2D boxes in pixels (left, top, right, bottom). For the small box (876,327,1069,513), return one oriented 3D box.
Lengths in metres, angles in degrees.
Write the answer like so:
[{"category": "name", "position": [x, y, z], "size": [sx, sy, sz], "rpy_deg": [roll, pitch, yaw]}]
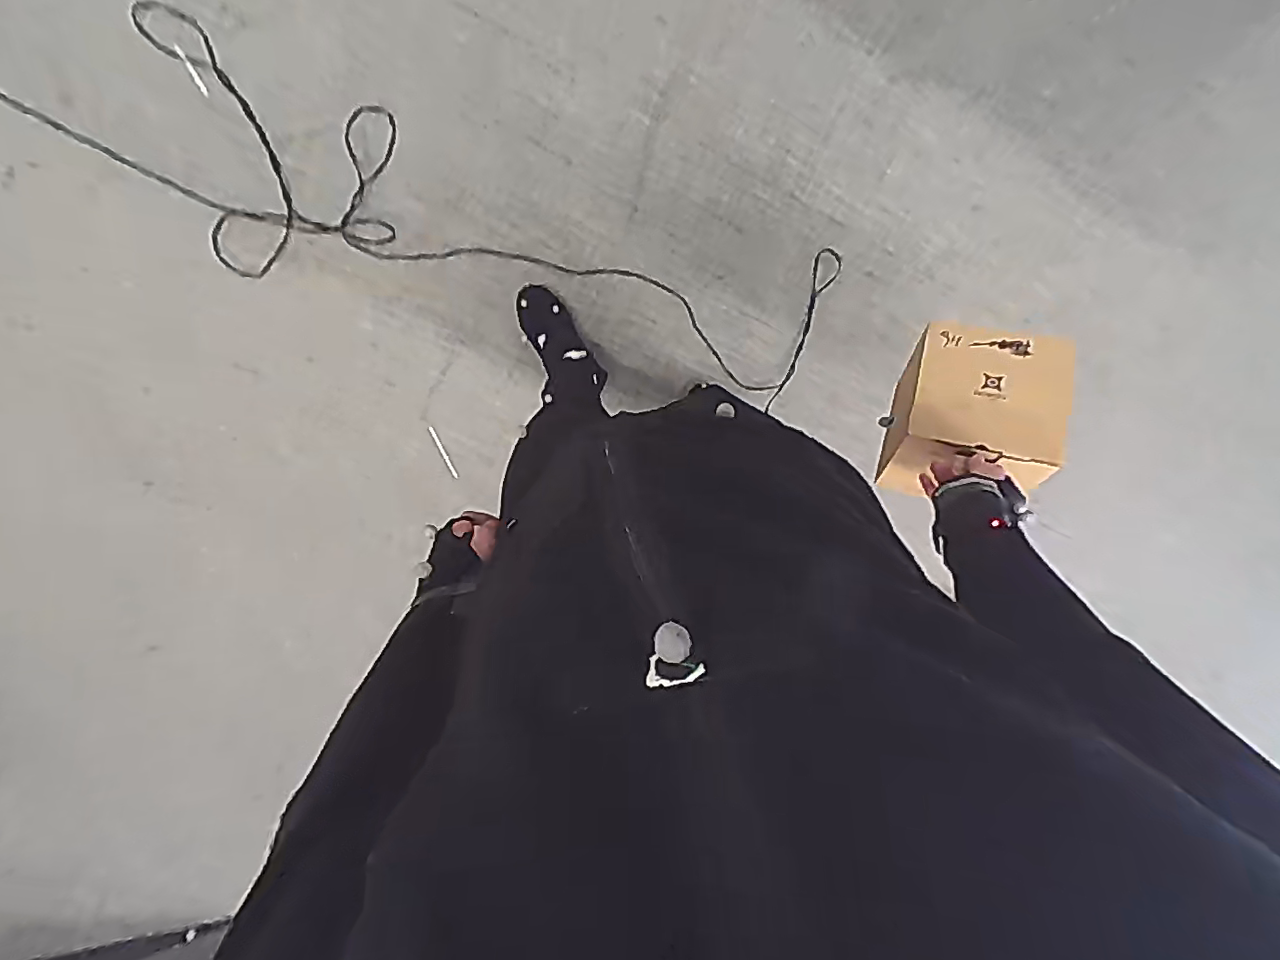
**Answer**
[{"category": "small box", "position": [0.433, -0.072, 0.730], "size": [0.168, 0.176, 0.179], "rpy_deg": [16, 72, 16]}]
